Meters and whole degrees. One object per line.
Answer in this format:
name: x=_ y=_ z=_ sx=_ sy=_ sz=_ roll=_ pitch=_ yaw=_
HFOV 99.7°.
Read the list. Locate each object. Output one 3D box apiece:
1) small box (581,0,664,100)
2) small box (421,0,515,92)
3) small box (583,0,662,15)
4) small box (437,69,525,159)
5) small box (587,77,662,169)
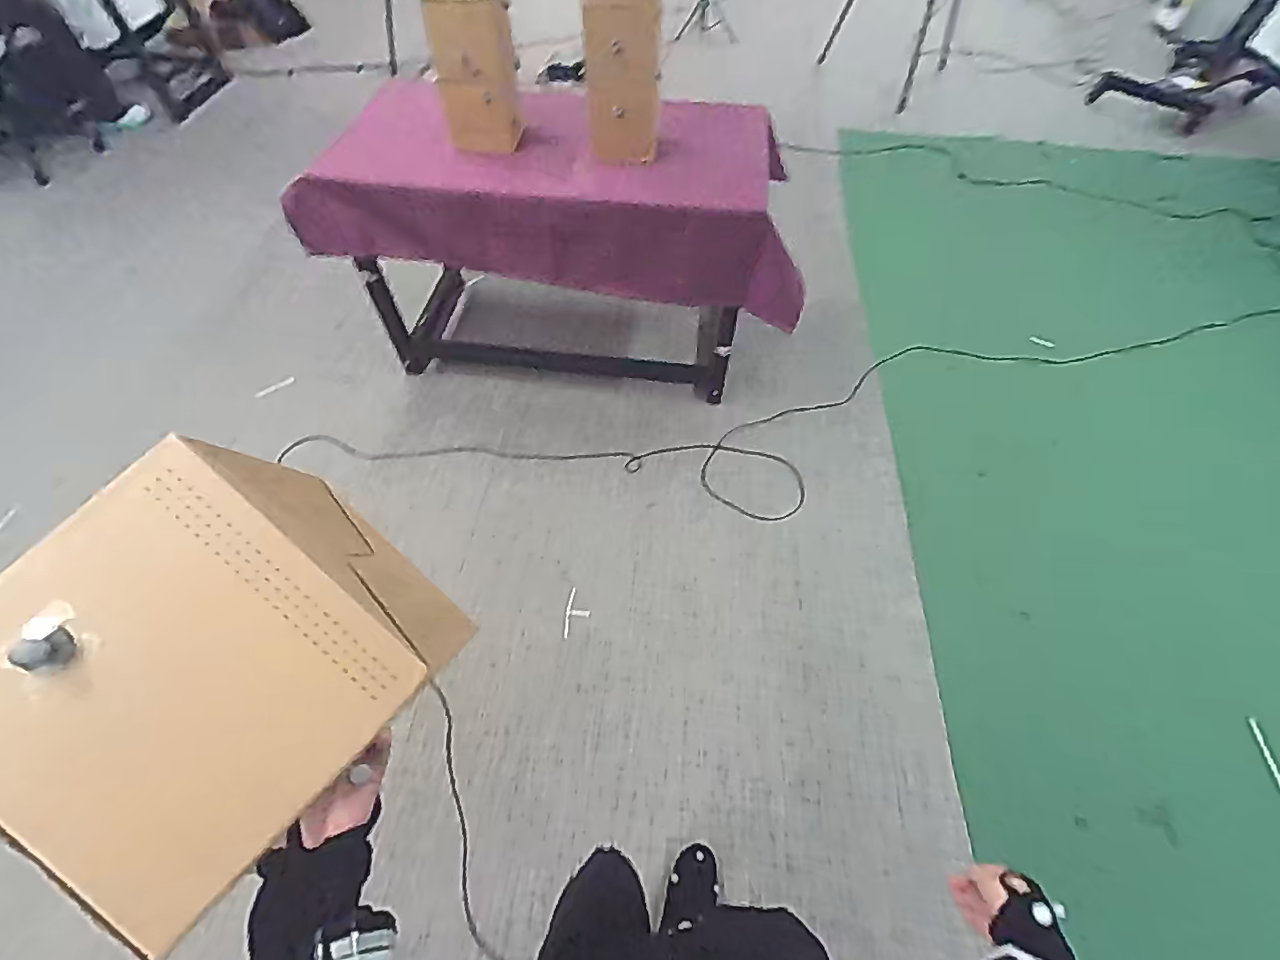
small box: x=-0.038 y=-1.058 z=1.322 sx=0.179 sy=0.176 sz=0.168 roll=5 pitch=56 yaw=4
small box: x=-0.417 y=-1.102 z=1.350 sx=0.168 sy=0.176 sz=0.179 roll=4 pitch=55 yaw=2
small box: x=-0.038 y=-1.153 z=1.188 sx=0.179 sy=0.176 sz=0.168 roll=4 pitch=56 yaw=3
small box: x=-0.427 y=-1.006 z=1.483 sx=0.179 sy=0.176 sz=0.168 roll=5 pitch=55 yaw=2
small box: x=-0.039 y=-0.964 z=1.457 sx=0.179 sy=0.176 sz=0.168 roll=6 pitch=56 yaw=3
